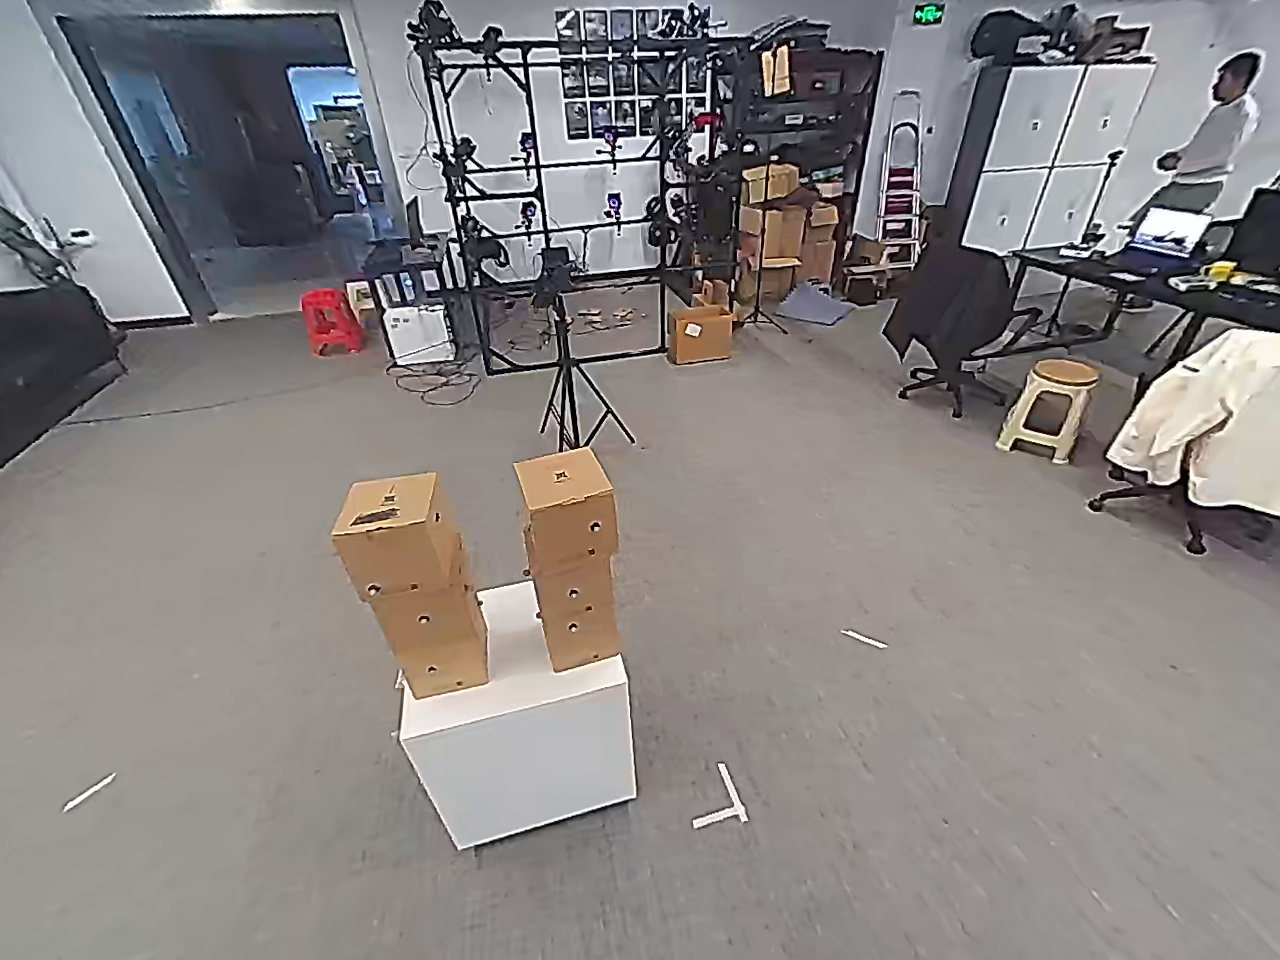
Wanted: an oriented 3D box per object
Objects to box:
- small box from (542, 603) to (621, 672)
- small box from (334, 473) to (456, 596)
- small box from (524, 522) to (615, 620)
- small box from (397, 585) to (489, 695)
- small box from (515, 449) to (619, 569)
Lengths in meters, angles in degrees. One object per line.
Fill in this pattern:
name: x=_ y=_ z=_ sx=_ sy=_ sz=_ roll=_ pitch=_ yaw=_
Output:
small box: x=-0.150 y=0.328 z=1.310 sx=0.168 sy=0.176 sz=0.179 roll=-13 pitch=36 yaw=-12
small box: x=-0.470 y=0.112 z=1.070 sx=0.168 sy=0.176 sz=0.179 roll=-8 pitch=34 yaw=-8
small box: x=-0.158 y=0.193 z=1.216 sx=0.168 sy=0.176 sz=0.179 roll=-12 pitch=36 yaw=-12
small box: x=-0.451 y=0.378 z=1.263 sx=0.168 sy=0.176 sz=0.179 roll=-10 pitch=35 yaw=-11
small box: x=-0.149 y=0.063 z=1.116 sx=0.168 sy=0.176 sz=0.179 roll=-14 pitch=36 yaw=-16
